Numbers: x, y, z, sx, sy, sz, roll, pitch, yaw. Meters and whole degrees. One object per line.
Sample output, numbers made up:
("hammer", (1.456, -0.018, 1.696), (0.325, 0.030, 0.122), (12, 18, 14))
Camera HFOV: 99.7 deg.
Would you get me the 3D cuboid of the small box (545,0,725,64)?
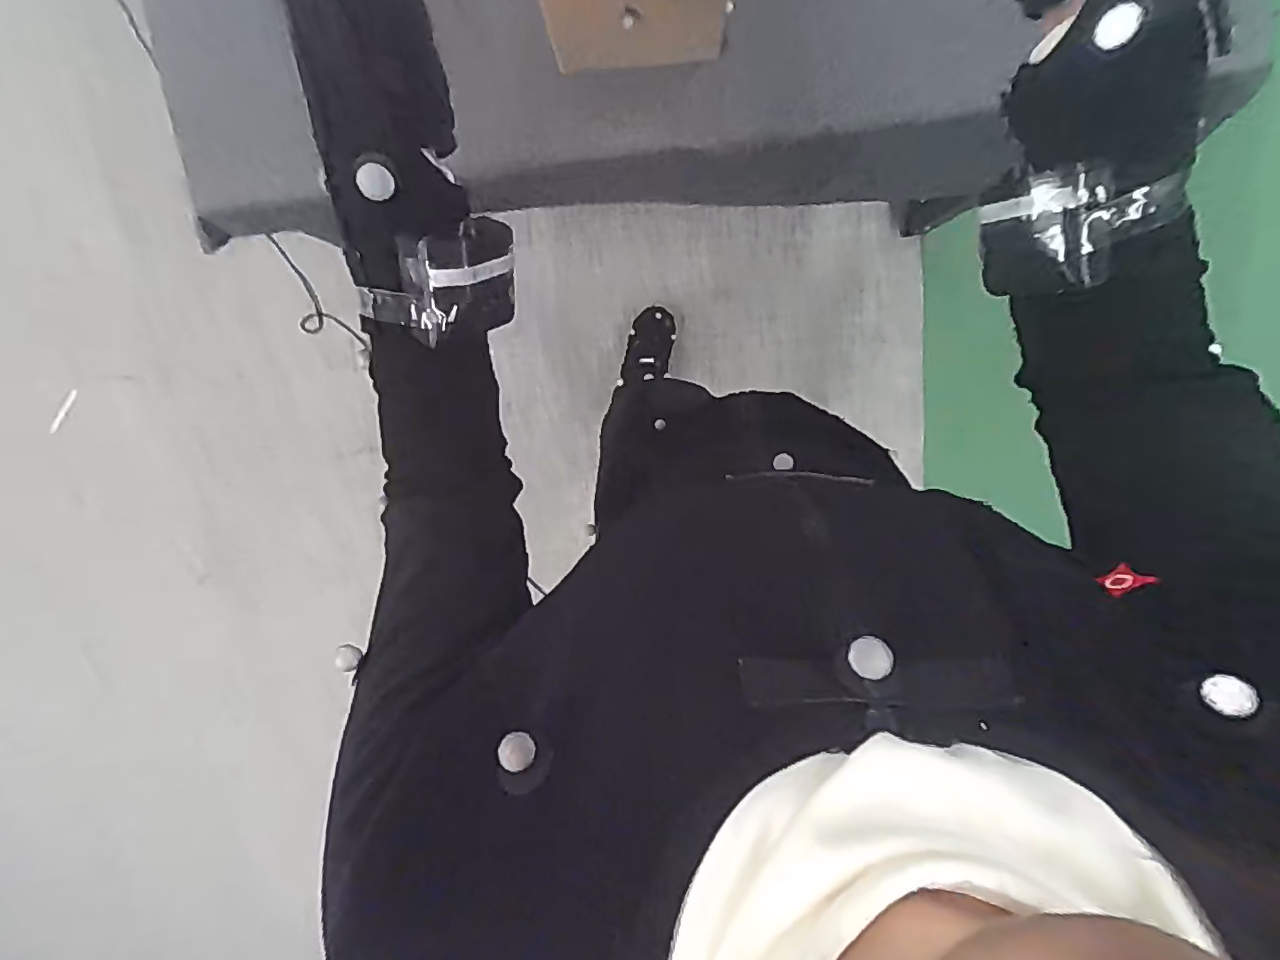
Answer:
("small box", (-0.006, -0.528, 0.503), (0.179, 0.176, 0.168), (-4, 100, 2))
